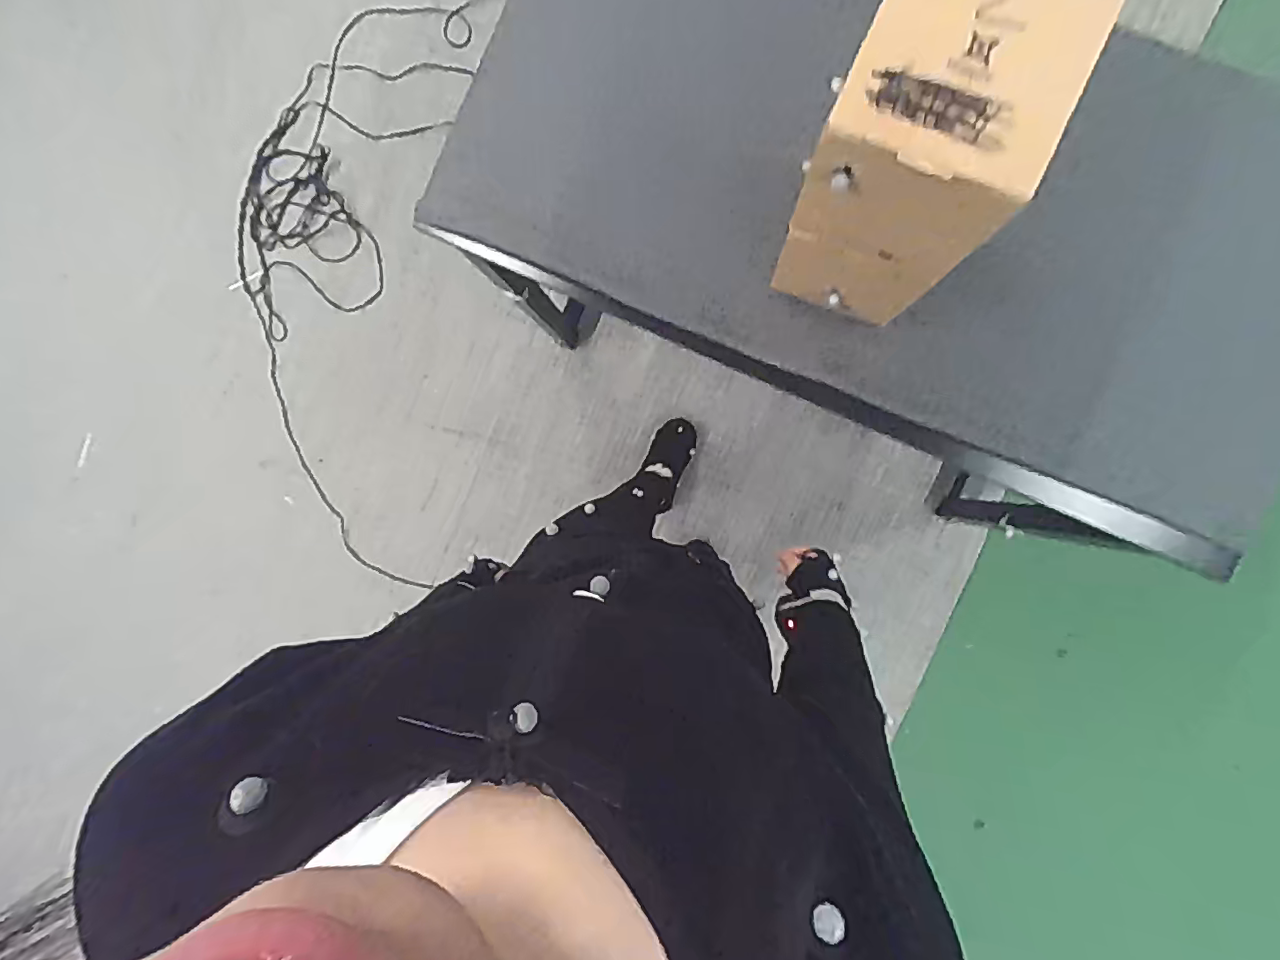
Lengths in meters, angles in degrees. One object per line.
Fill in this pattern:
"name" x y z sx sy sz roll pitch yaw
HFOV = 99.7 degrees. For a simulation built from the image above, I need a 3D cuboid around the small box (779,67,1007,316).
"small box" 0.278 -0.324 0.642 0.168 0.176 0.179 22 92 5
